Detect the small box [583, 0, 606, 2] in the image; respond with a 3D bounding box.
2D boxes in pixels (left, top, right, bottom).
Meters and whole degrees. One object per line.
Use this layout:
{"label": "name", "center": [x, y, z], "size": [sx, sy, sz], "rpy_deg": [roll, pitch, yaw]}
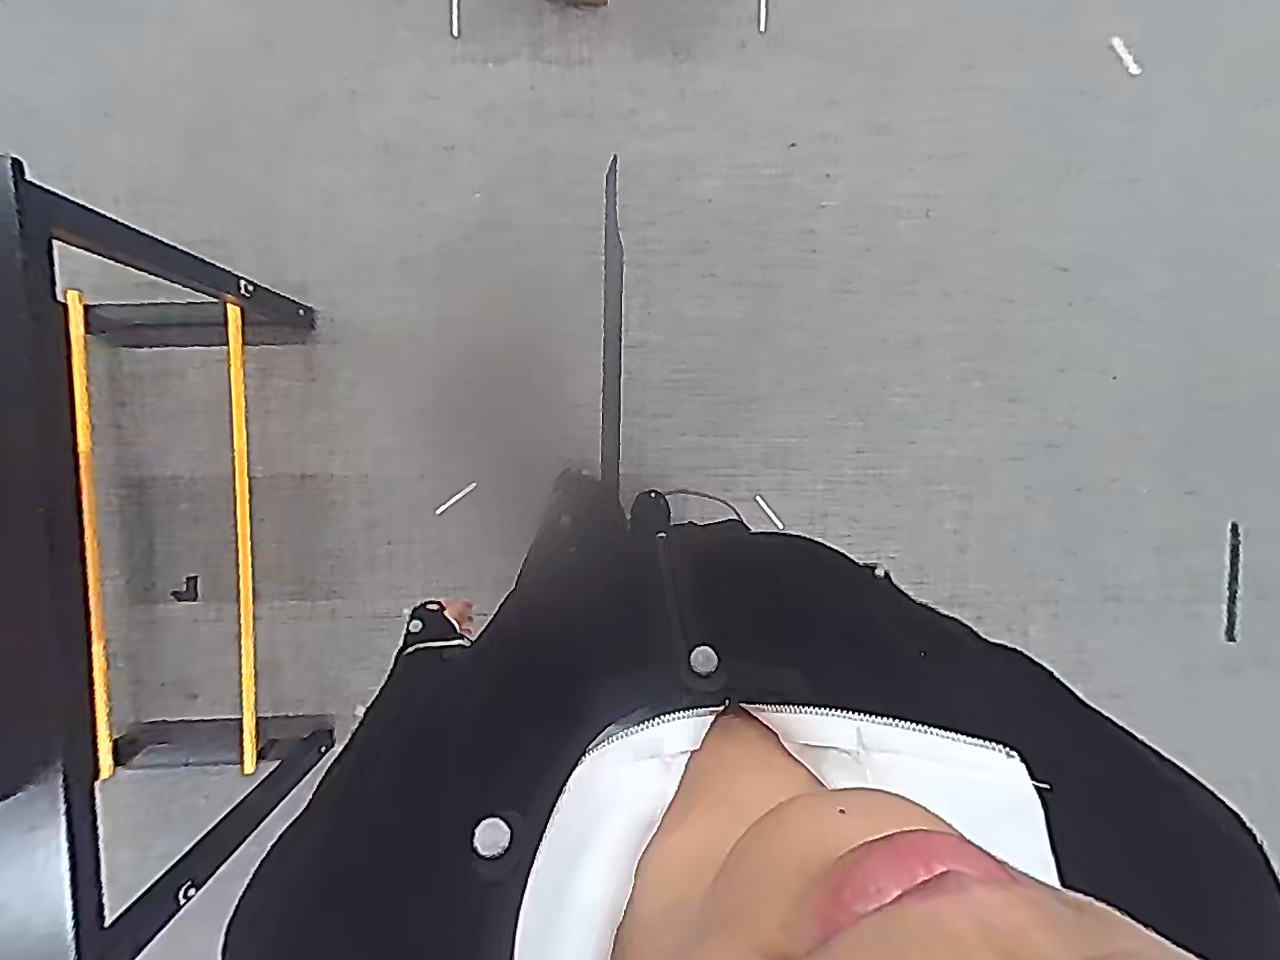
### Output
{"label": "small box", "center": [-0.153, -1.313, 1.310], "size": [0.179, 0.176, 0.168], "rpy_deg": [4, 94, -4]}
